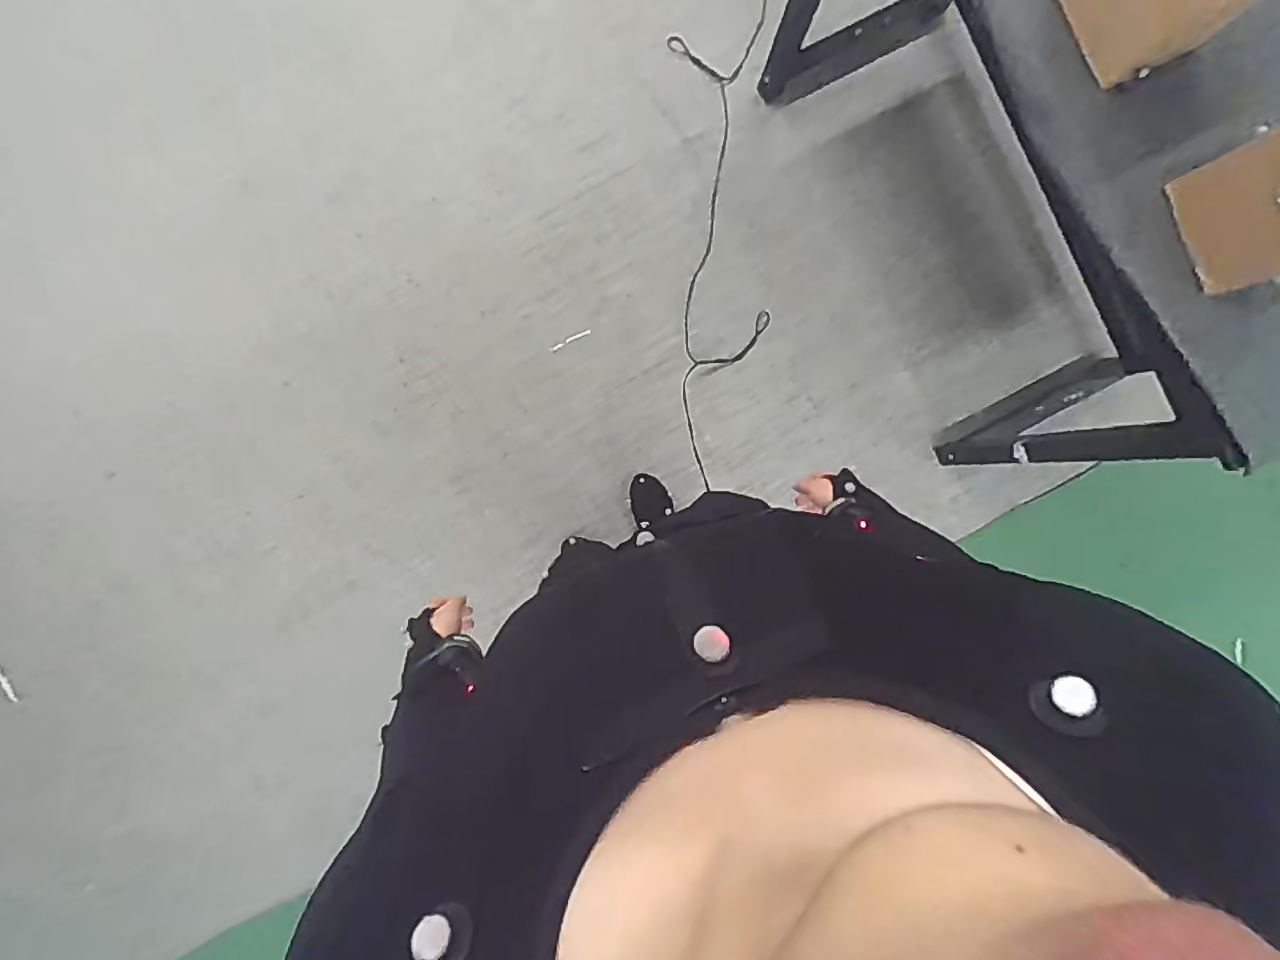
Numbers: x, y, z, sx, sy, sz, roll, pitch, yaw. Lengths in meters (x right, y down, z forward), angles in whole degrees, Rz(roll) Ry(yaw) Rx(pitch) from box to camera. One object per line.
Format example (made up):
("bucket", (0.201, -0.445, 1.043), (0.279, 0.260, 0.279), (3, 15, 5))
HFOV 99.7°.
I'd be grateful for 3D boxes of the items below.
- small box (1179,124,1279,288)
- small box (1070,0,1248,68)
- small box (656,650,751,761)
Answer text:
("small box", (0.865, -0.378, 0.693), (0.168, 0.176, 0.179), (-24, 92, -2))
("small box", (0.694, -0.671, 0.682), (0.168, 0.176, 0.179), (-27, 90, -3))
("small box", (0.150, 0.551, 1.351), (0.179, 0.176, 0.168), (-26, 90, -1))
